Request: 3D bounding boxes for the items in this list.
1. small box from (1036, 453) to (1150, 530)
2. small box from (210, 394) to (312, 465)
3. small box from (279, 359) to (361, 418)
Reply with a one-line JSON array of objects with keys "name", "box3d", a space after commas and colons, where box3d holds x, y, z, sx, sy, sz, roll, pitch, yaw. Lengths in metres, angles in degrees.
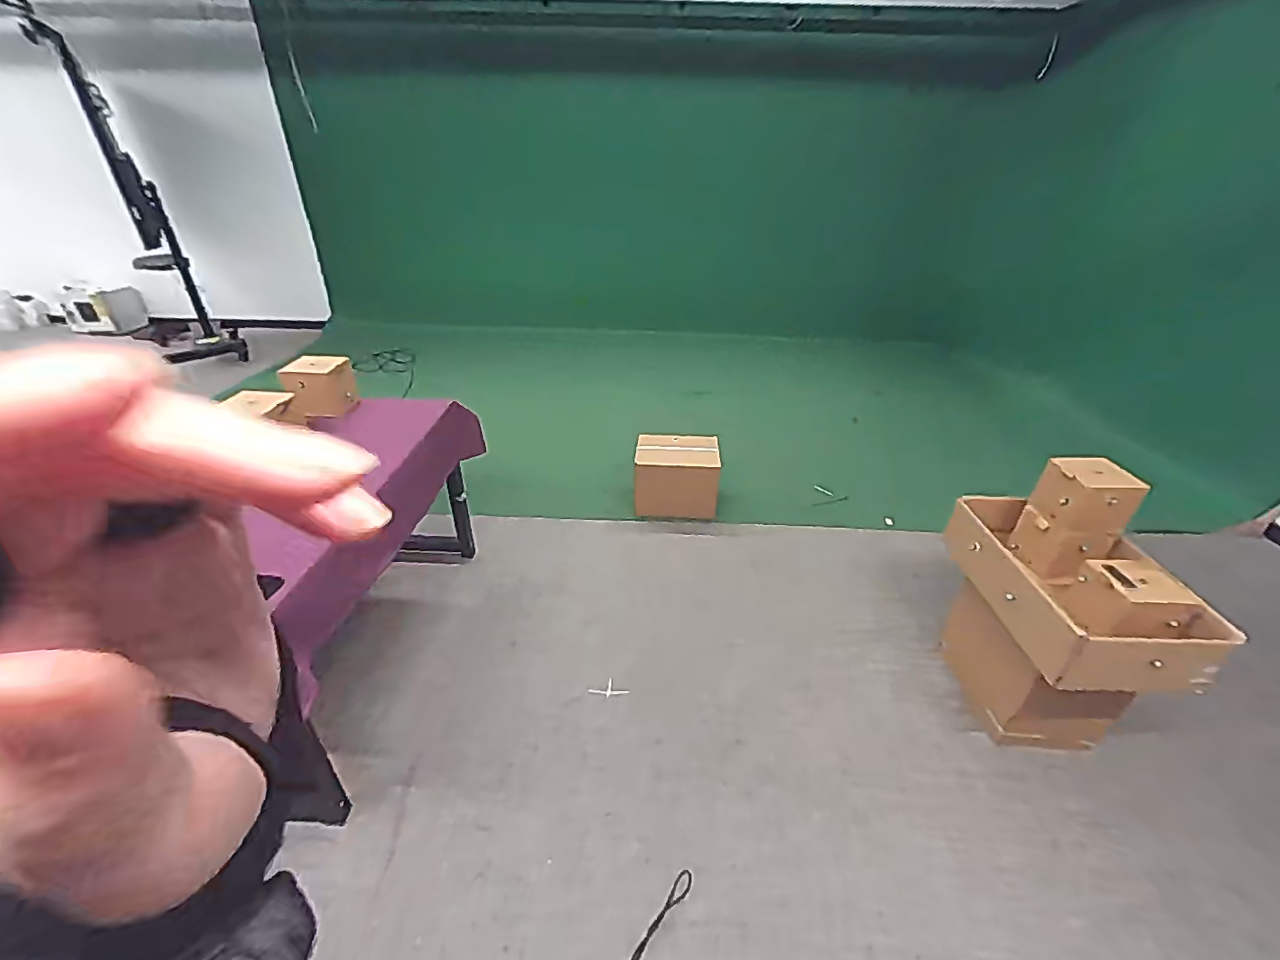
[{"name": "small box", "box3d": [1.304, 0.033, 1.579, 0.179, 0.176, 0.168, 0, 33, -3]}, {"name": "small box", "box3d": [-1.171, -0.158, 1.686, 0.179, 0.176, 0.168, 3, 31, 3]}, {"name": "small box", "box3d": [-1.155, -0.334, 1.967, 0.179, 0.176, 0.168, 2, 32, 1]}]
